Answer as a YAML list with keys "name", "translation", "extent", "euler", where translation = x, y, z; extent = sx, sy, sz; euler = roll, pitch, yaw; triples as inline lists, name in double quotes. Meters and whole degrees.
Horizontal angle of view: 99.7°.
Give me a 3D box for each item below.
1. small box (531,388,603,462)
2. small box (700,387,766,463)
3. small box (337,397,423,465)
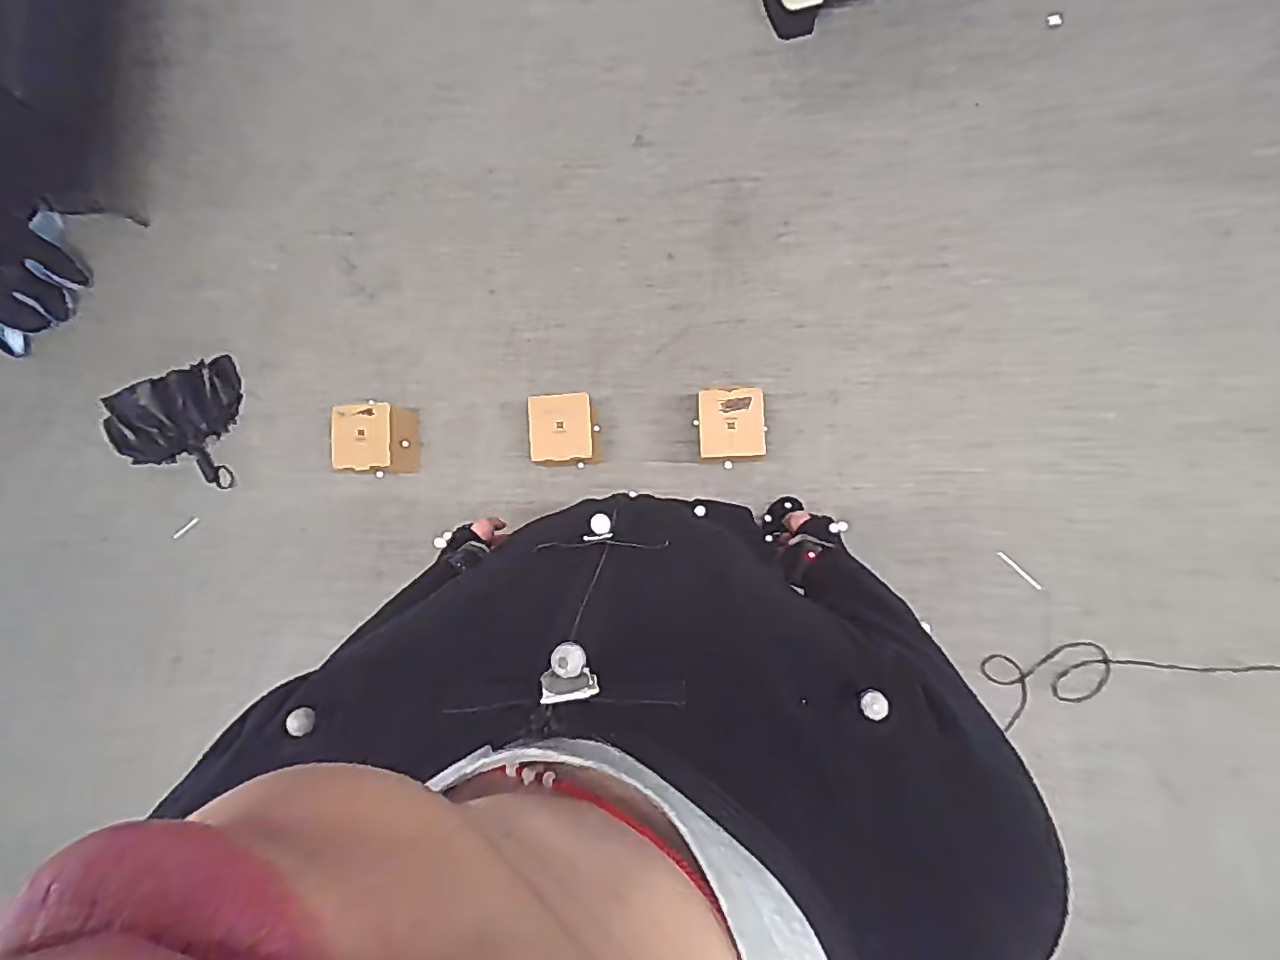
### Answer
- name: "small box"
  translation: [-0.198, -0.145, 1.501]
  extent: [0.168, 0.176, 0.179]
  euler: [-4, 84, 4]
- name: "small box"
  translation: [0.245, -0.144, 1.452]
  extent: [0.168, 0.176, 0.179]
  euler: [-1, 86, 7]
- name: "small box"
  translation: [-0.738, -0.135, 1.551]
  extent: [0.168, 0.176, 0.179]
  euler: [-2, 87, 5]
